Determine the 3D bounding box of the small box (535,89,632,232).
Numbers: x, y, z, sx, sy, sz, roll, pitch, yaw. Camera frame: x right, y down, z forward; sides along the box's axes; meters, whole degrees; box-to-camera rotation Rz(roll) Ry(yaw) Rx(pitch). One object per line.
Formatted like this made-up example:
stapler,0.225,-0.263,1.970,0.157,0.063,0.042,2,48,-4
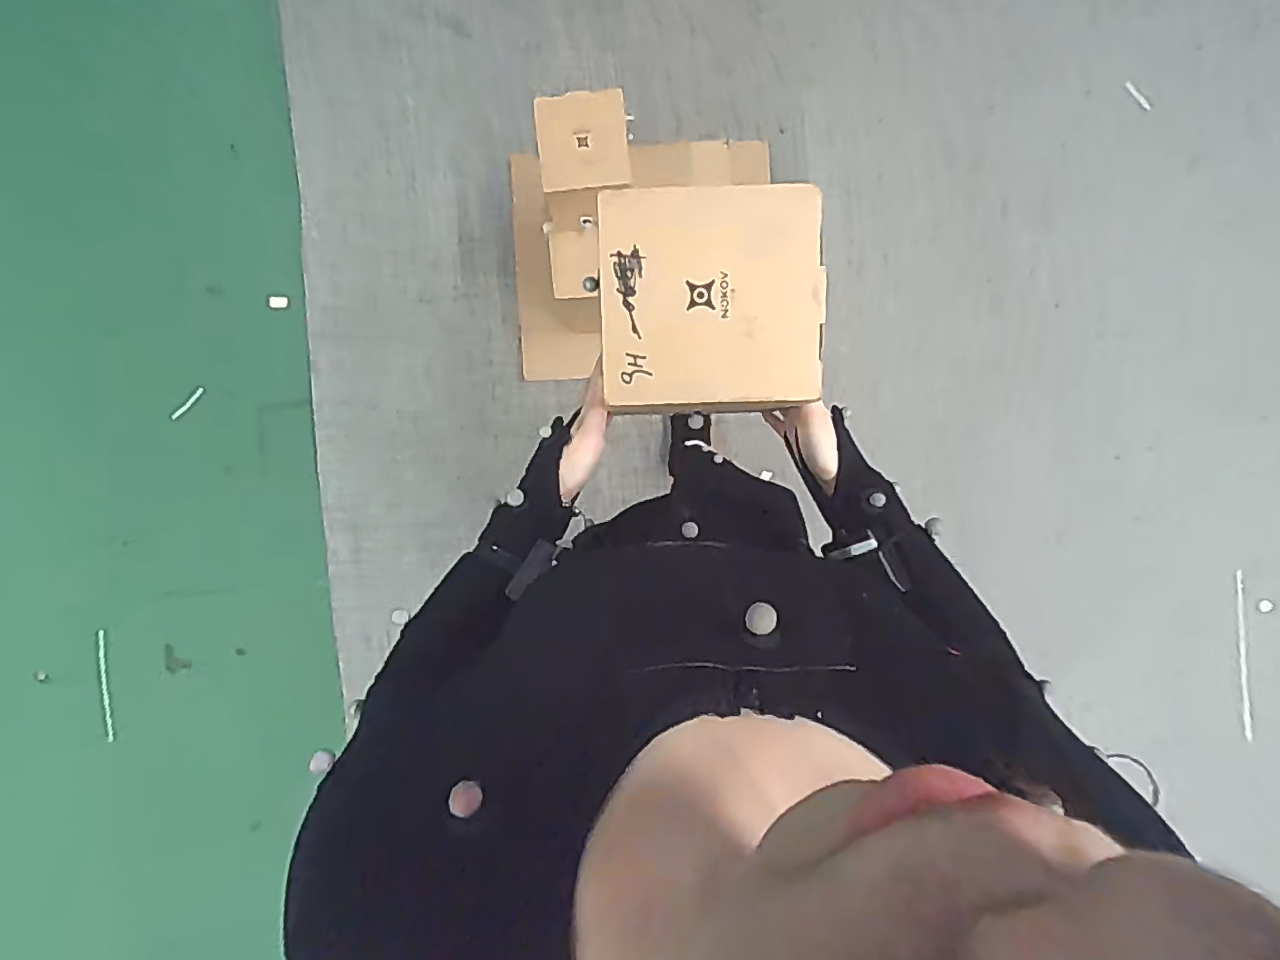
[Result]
small box,-0.103,-0.615,1.059,0.168,0.176,0.179,-7,91,0

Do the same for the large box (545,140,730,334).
large box,-0.001,-0.559,1.304,0.408,0.320,0.320,-5,92,-1

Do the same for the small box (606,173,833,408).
small box,0.058,-0.156,0.496,0.179,0.176,0.168,-1,94,-2
